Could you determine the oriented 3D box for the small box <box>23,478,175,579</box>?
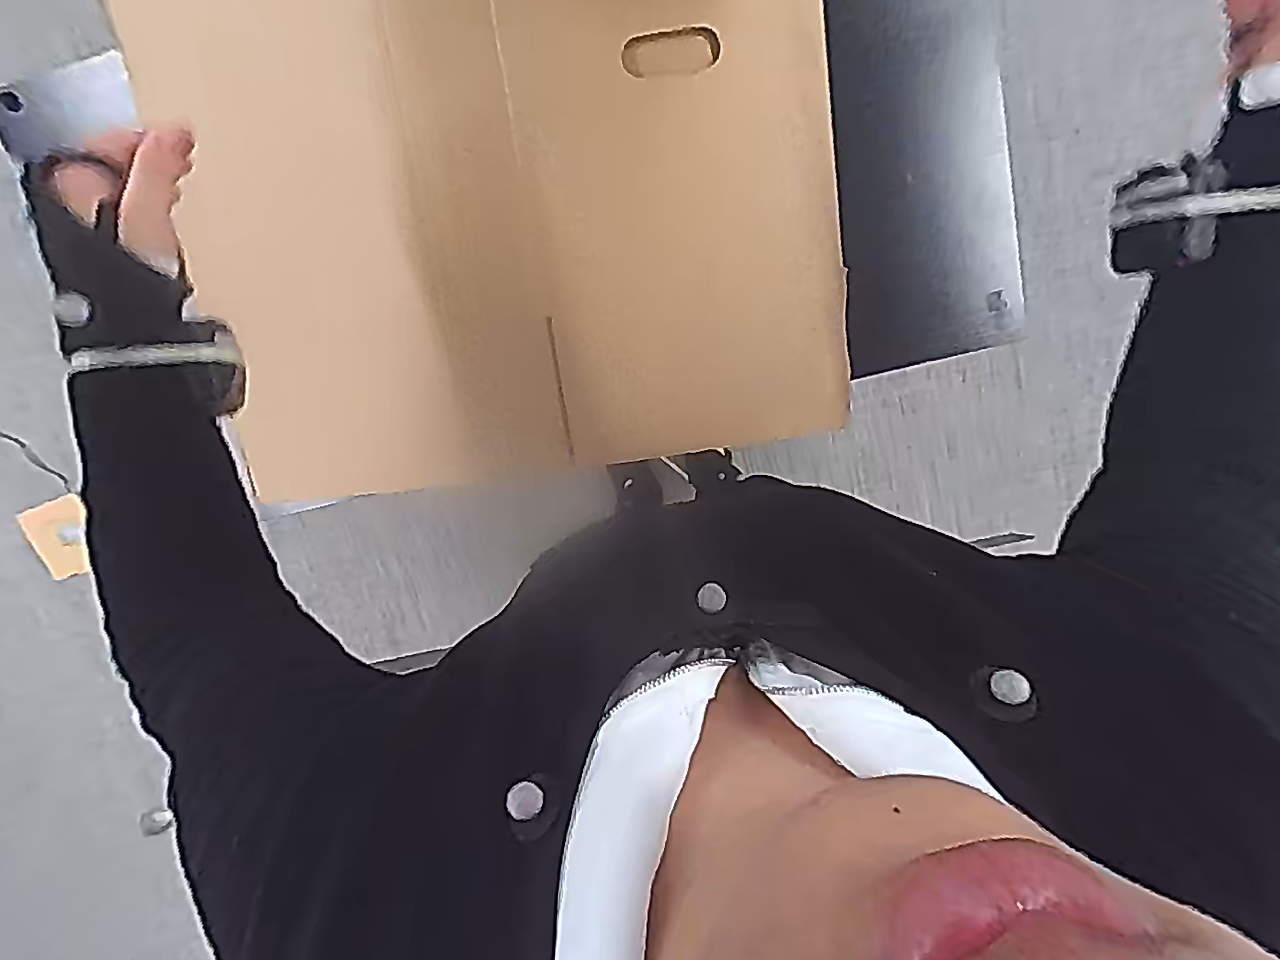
[{"bbox_3d":[-1.311,0.114,1.326,0.168,0.176,0.179,-20,100,6],"label":"small box"}]
